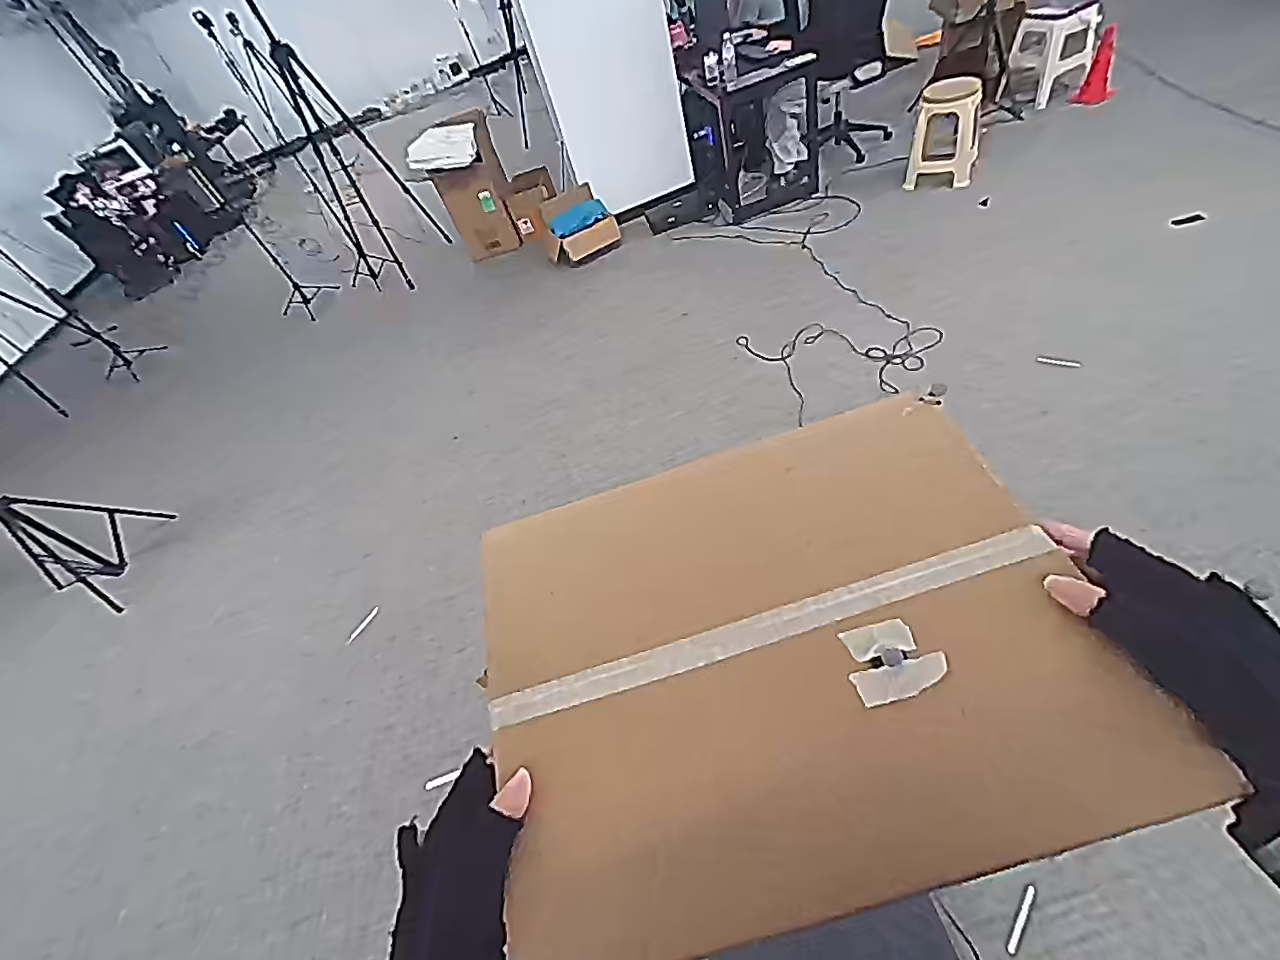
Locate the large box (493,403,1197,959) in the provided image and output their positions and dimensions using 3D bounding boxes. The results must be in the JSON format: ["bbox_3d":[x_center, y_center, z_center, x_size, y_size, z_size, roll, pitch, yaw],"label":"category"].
[{"bbox_3d":[0.120,0.194,0.512,0.408,0.320,0.320,-18,54,2],"label":"large box"}]
